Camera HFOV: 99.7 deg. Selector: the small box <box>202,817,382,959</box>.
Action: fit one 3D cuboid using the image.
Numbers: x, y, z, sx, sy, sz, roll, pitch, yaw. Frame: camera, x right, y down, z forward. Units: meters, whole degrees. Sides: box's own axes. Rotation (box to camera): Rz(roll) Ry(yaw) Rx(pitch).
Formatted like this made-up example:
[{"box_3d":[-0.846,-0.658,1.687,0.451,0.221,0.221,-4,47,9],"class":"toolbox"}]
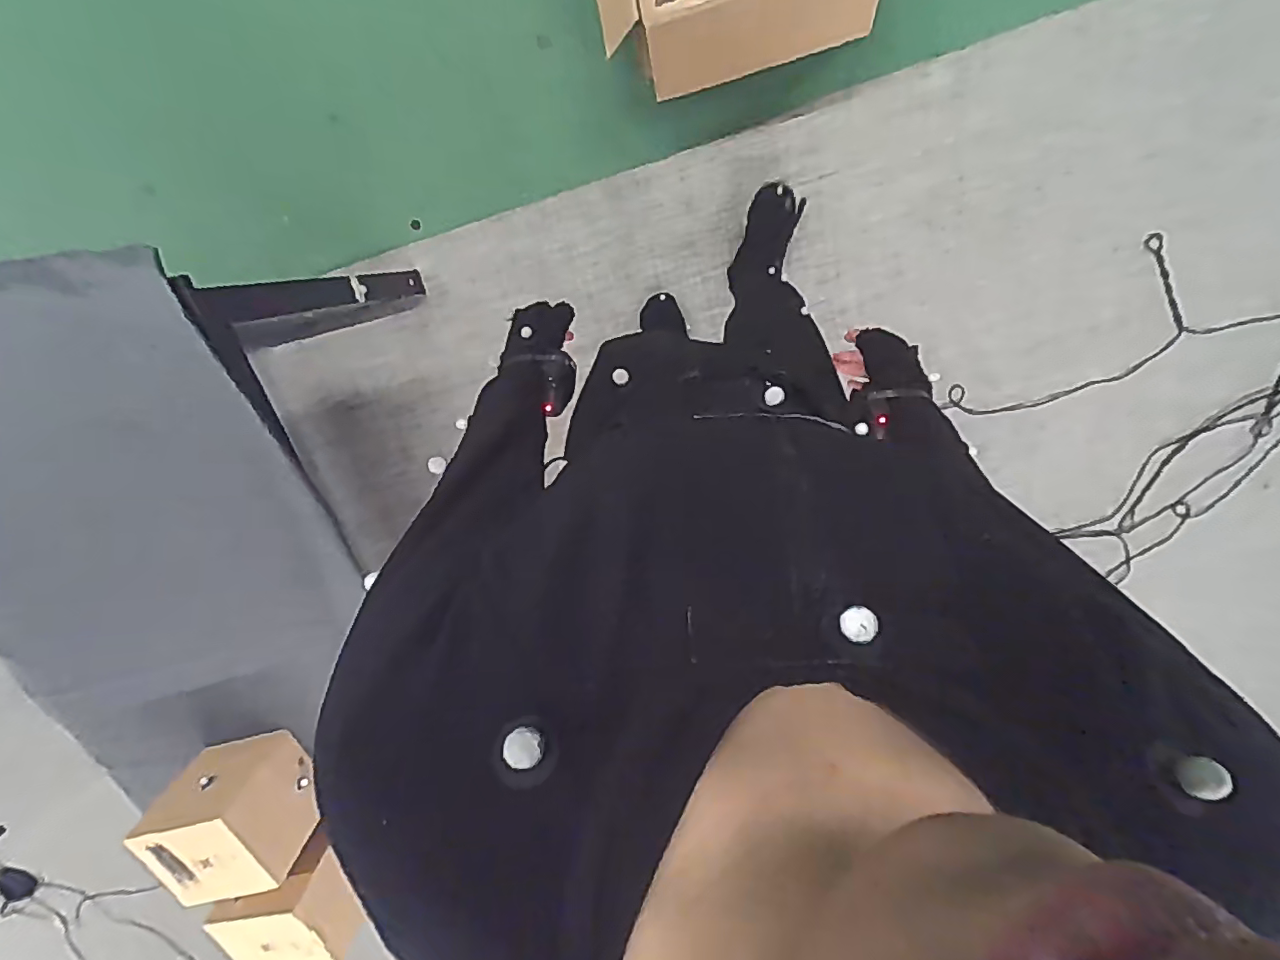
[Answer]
[{"box_3d":[-0.607,0.744,0.967,0.179,0.176,0.168,-13,111,7],"class":"small box"}]
